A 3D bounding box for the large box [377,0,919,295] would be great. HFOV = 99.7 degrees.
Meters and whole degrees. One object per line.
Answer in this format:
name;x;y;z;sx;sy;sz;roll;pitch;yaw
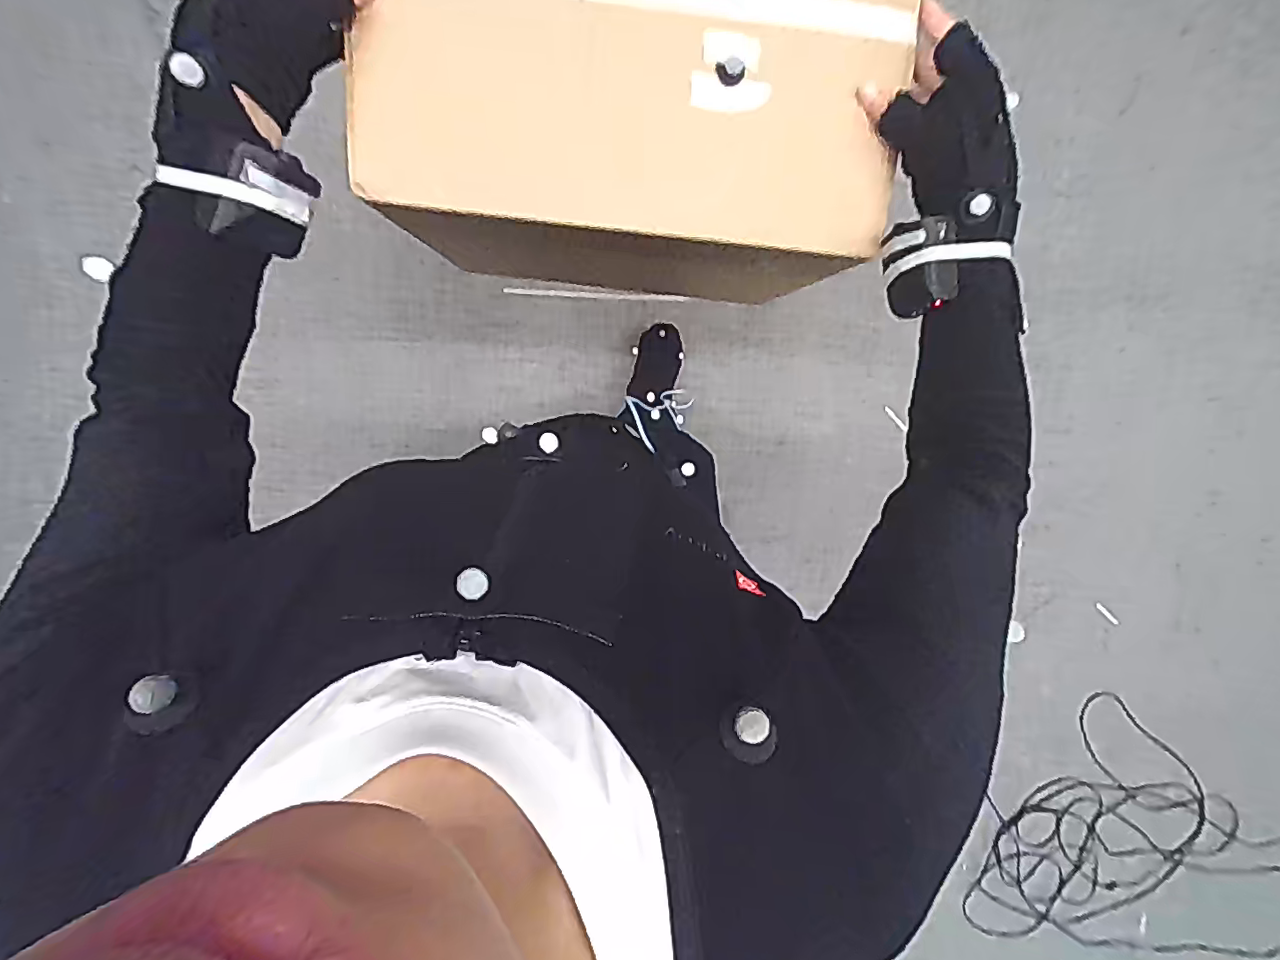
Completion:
large box;-0.002;-0.380;0.542;0.408;0.320;0.320;4;102;-6
